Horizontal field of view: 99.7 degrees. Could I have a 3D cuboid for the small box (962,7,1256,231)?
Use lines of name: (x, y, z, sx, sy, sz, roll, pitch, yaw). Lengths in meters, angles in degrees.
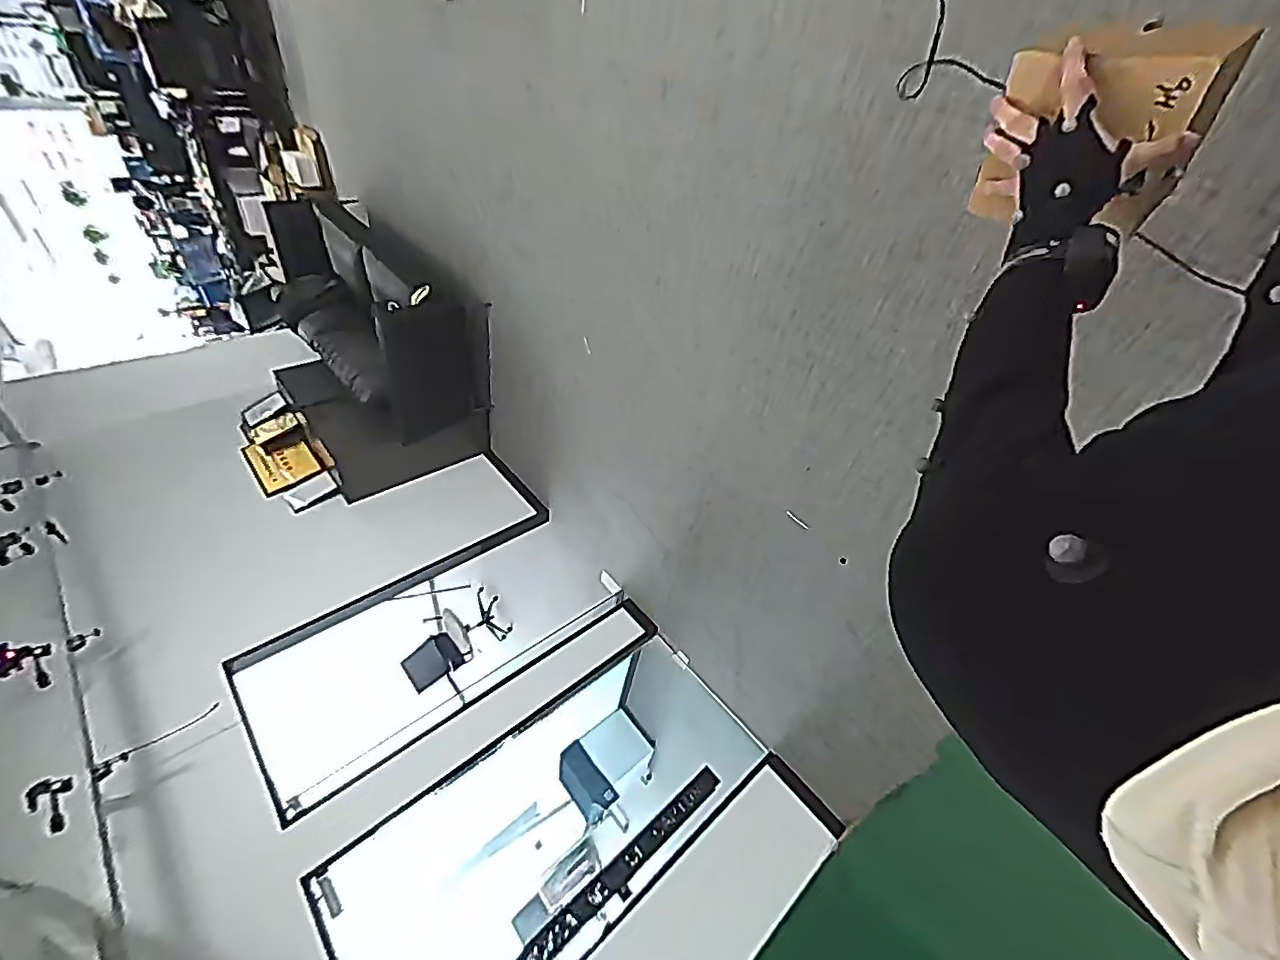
small box: (0.515, -0.412, 0.612, 0.179, 0.176, 0.168, 35, 151, 33)
